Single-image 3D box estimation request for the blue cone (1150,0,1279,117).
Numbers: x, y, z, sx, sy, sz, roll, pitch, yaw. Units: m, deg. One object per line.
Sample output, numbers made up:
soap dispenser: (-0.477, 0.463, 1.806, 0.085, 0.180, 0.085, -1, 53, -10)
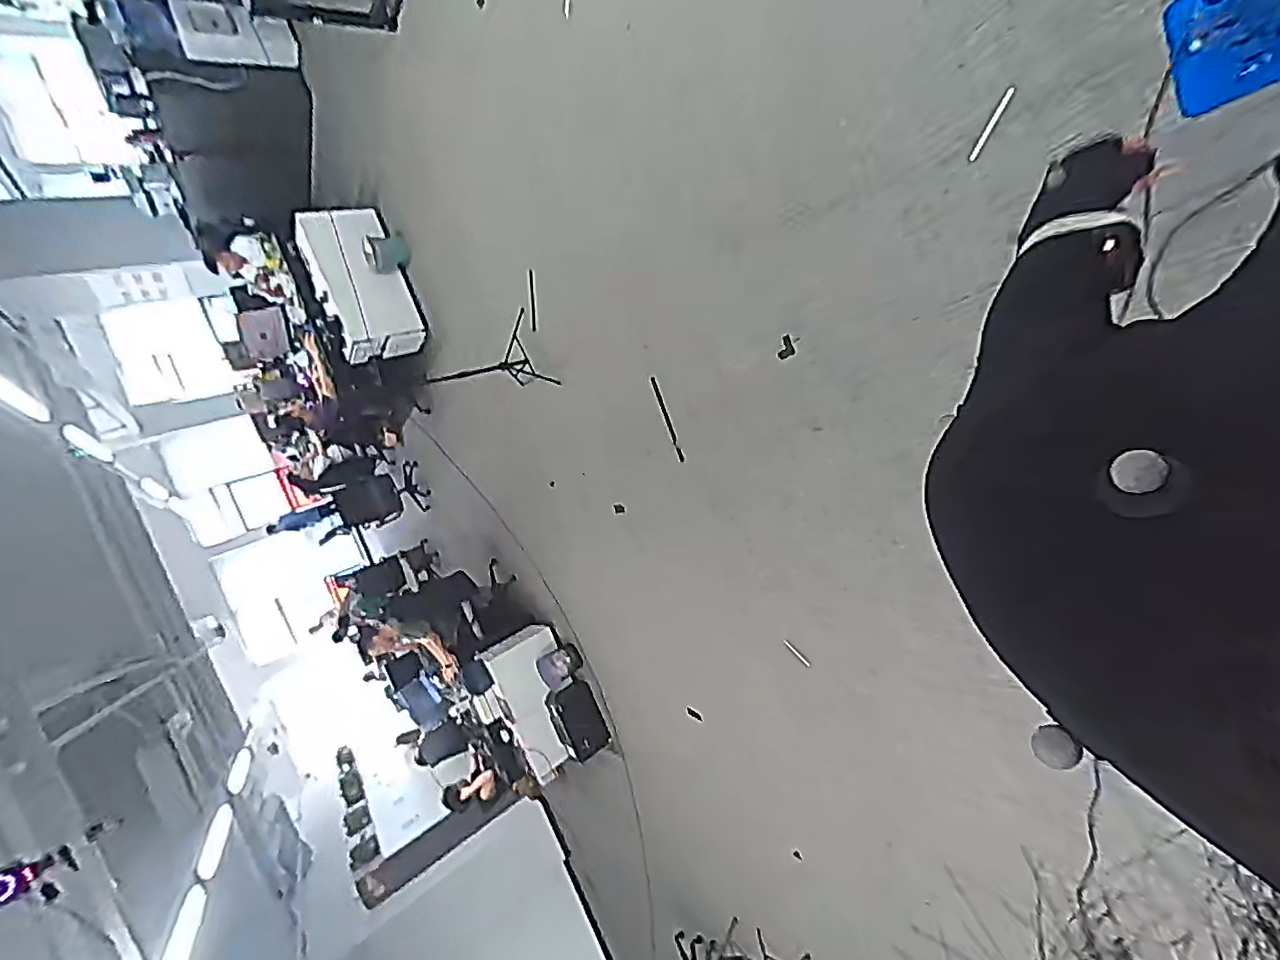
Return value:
blue cone: (0.842, -0.667, 0.784, 0.193, 0.380, 0.192, -11, 102, 56)
